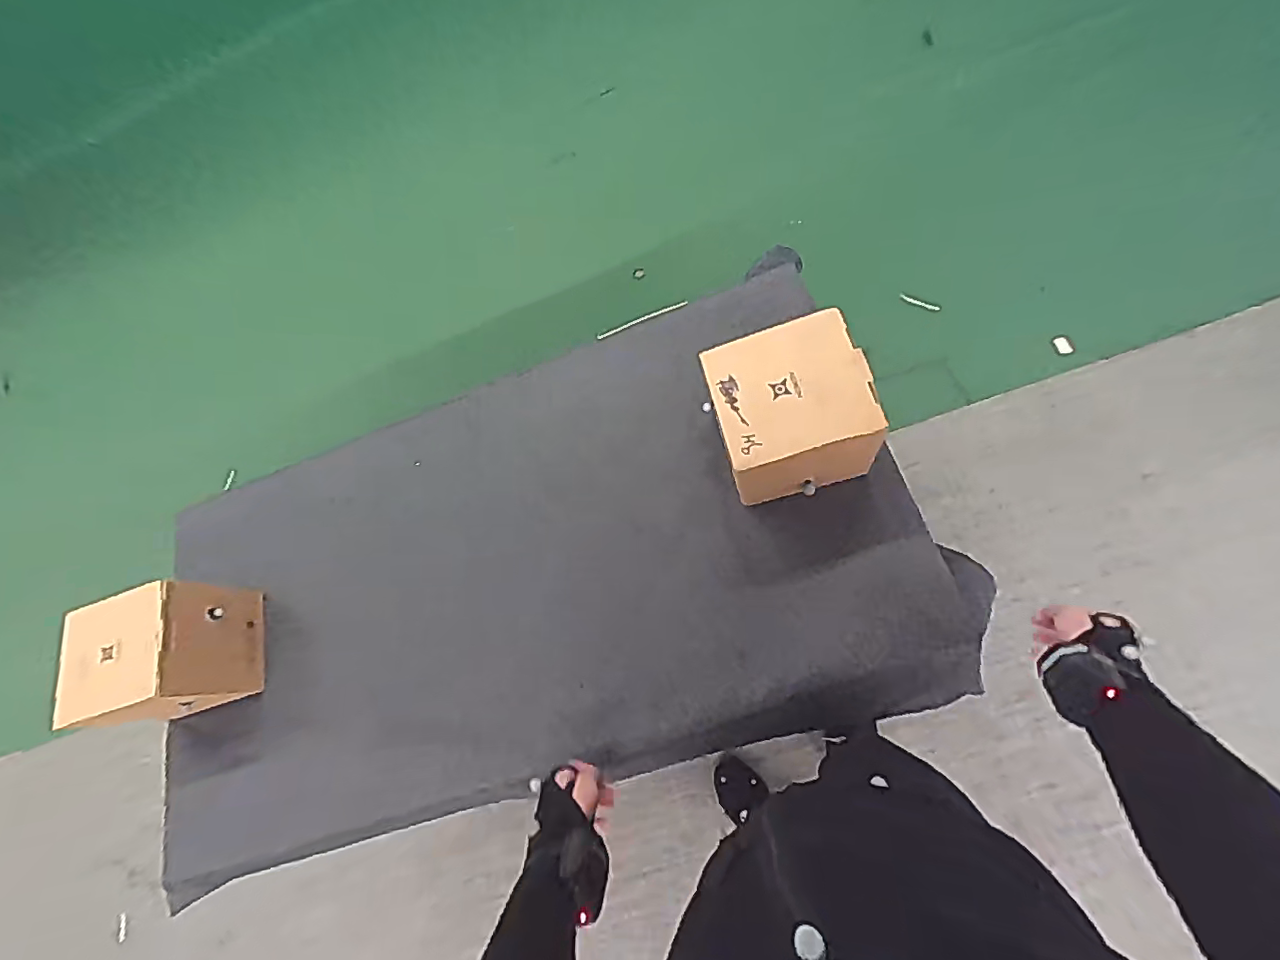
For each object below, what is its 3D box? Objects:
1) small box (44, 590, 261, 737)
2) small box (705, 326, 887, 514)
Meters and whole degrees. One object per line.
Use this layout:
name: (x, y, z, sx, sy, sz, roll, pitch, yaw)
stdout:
small box: (-0.717, 0.276, 0.818, 0.179, 0.176, 0.168, -17, 66, 8)
small box: (0.195, -0.067, 0.714, 0.179, 0.176, 0.168, -16, 70, 9)
